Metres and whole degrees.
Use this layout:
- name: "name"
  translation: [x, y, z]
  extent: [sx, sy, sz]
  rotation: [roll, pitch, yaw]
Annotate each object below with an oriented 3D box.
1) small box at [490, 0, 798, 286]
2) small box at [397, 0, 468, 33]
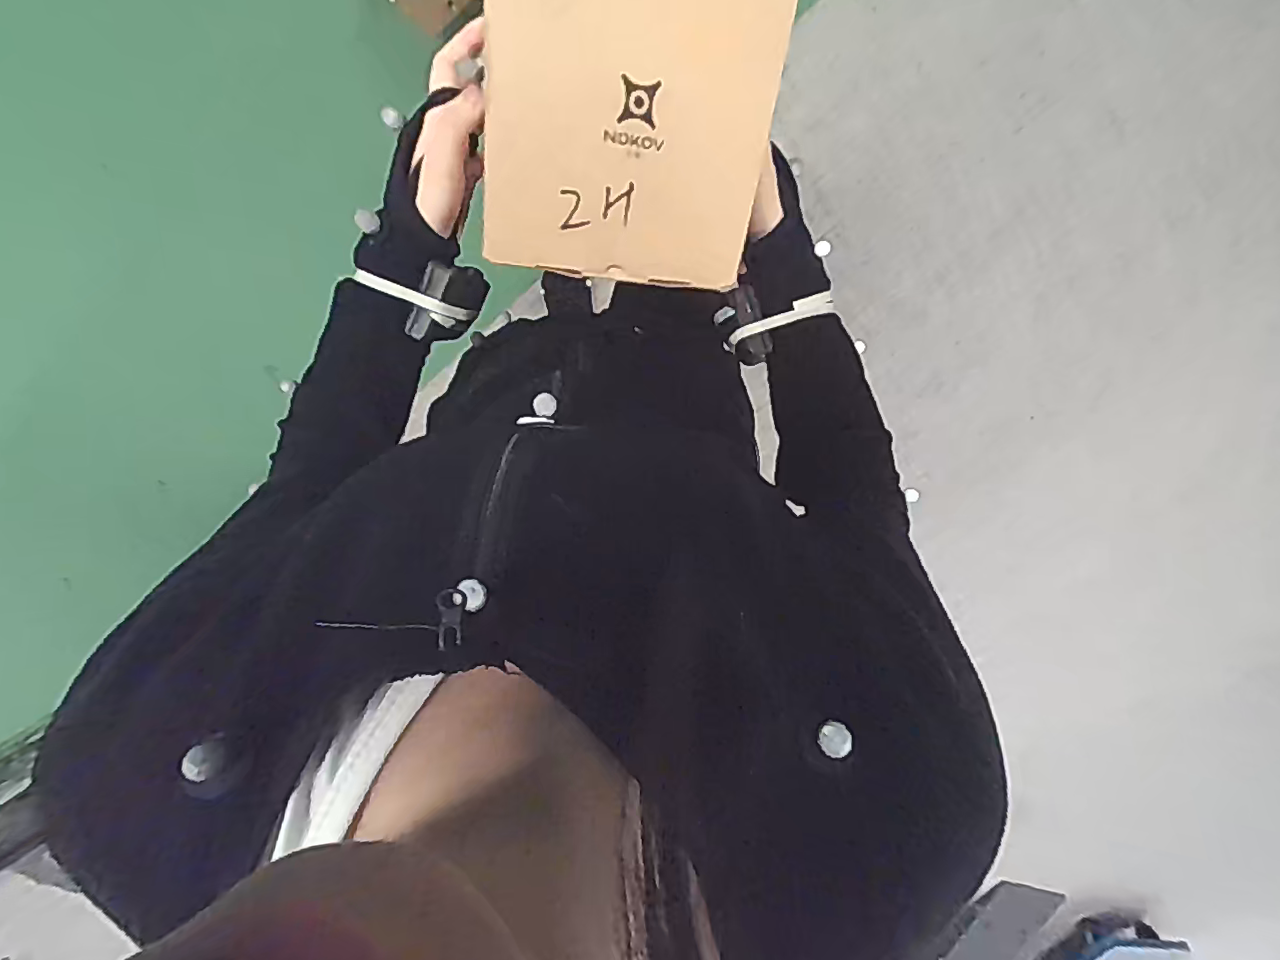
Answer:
- name: "small box"
  translation: [-0.018, -0.249, 0.379]
  extent: [0.168, 0.176, 0.179]
  rotation: [0, 120, -15]
- name: "small box"
  translation: [-0.405, -0.963, 0.971]
  extent: [0.168, 0.176, 0.179]
  rotation: [-35, 116, 13]
